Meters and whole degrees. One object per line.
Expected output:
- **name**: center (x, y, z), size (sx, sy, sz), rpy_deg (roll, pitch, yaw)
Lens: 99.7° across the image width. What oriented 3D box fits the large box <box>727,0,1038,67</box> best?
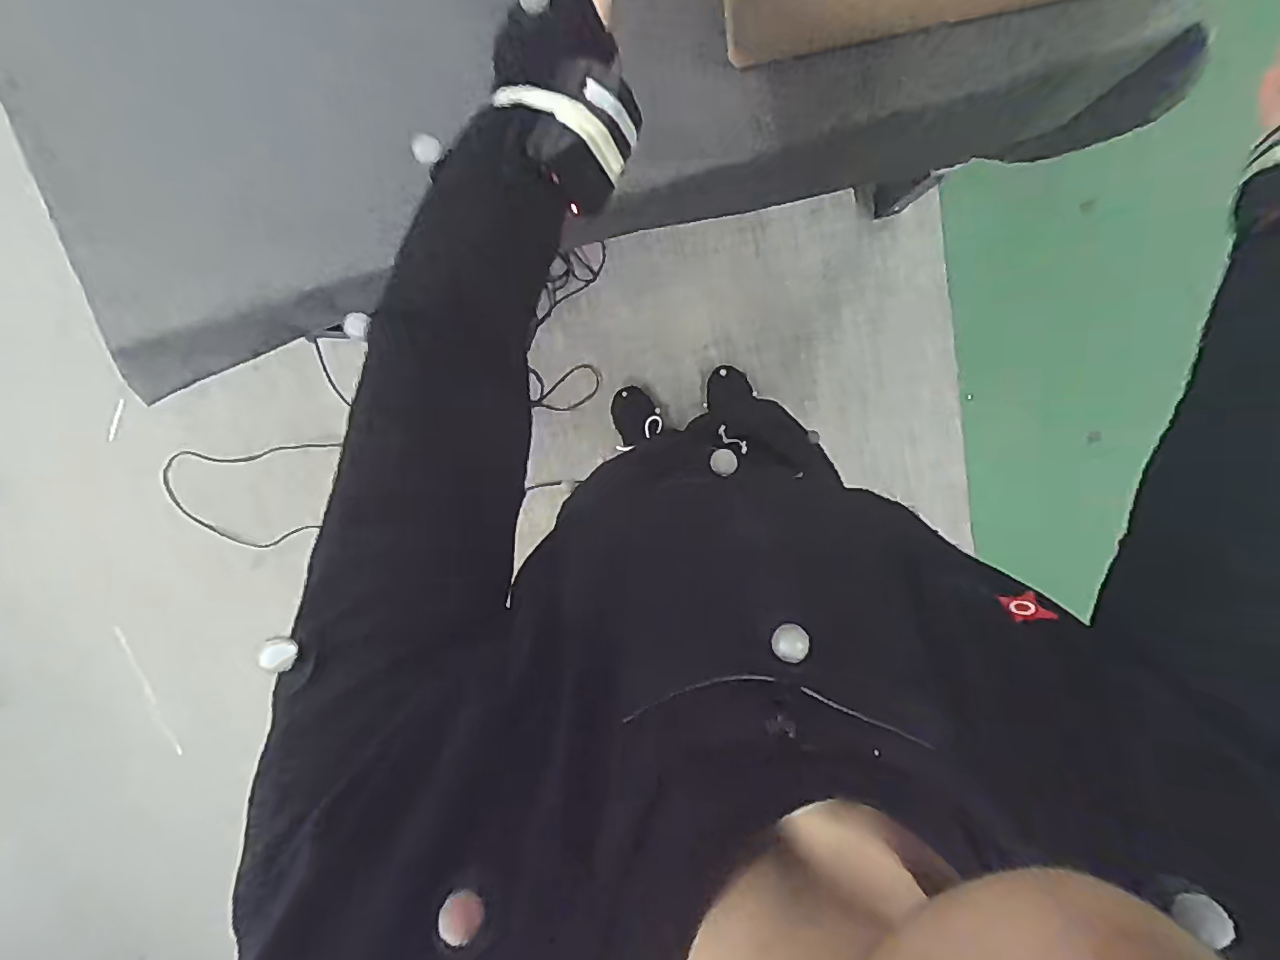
- **large box**: center (0.246, -0.539, 0.328), size (0.408, 0.320, 0.320), rpy_deg (-7, 102, 8)
